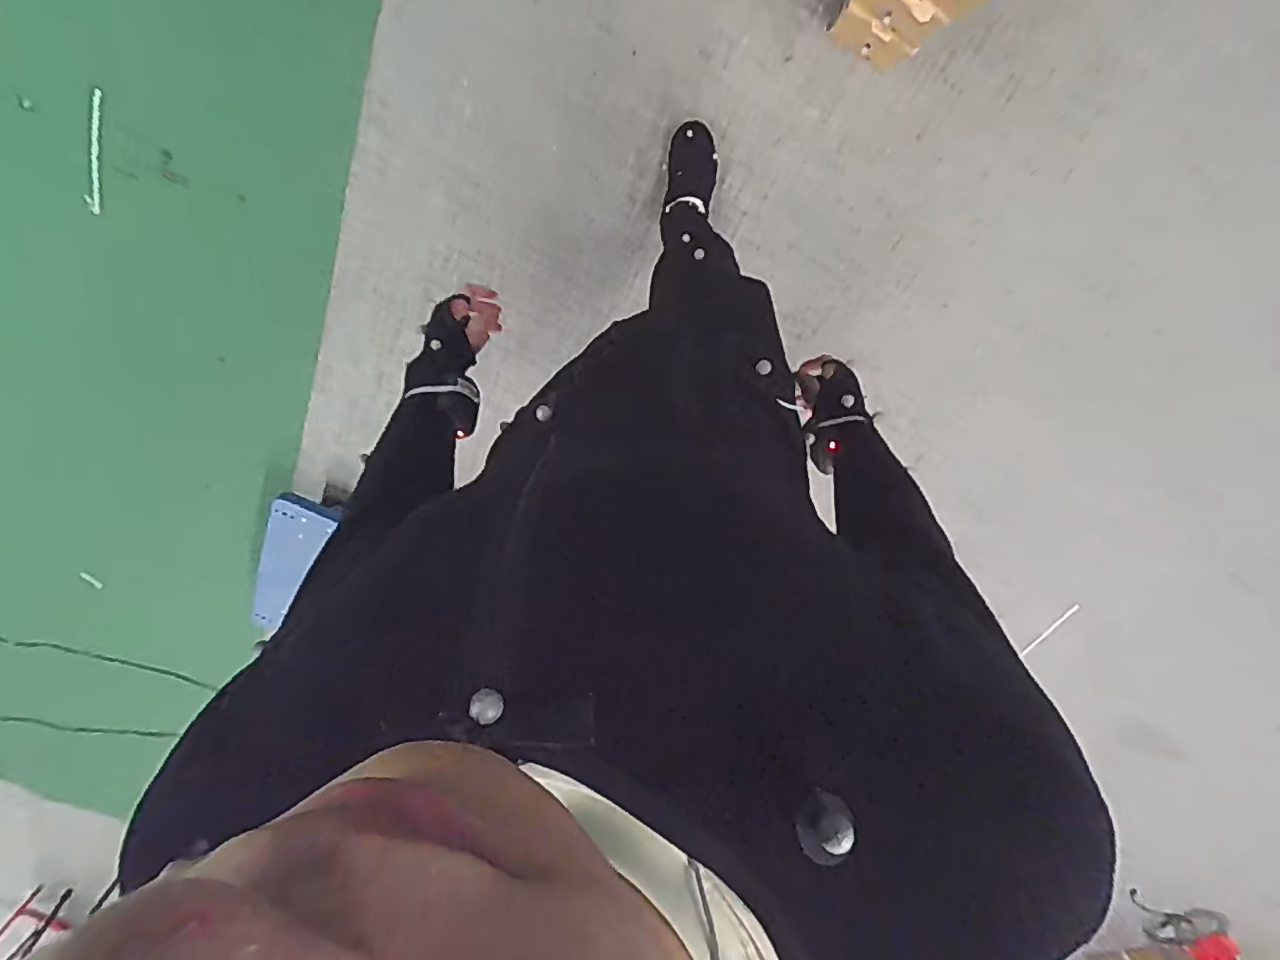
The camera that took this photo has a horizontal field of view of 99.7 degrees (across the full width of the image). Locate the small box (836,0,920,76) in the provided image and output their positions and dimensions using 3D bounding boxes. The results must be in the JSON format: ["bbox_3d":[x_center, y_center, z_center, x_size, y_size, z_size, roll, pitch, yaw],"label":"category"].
[{"bbox_3d":[0.520,-0.964,1.095,0.168,0.176,0.179,28,116,-8],"label":"small box"}]

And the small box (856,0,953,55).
[{"bbox_3d":[0.510,-0.900,0.943,0.168,0.176,0.179,32,115,-9],"label":"small box"}]
